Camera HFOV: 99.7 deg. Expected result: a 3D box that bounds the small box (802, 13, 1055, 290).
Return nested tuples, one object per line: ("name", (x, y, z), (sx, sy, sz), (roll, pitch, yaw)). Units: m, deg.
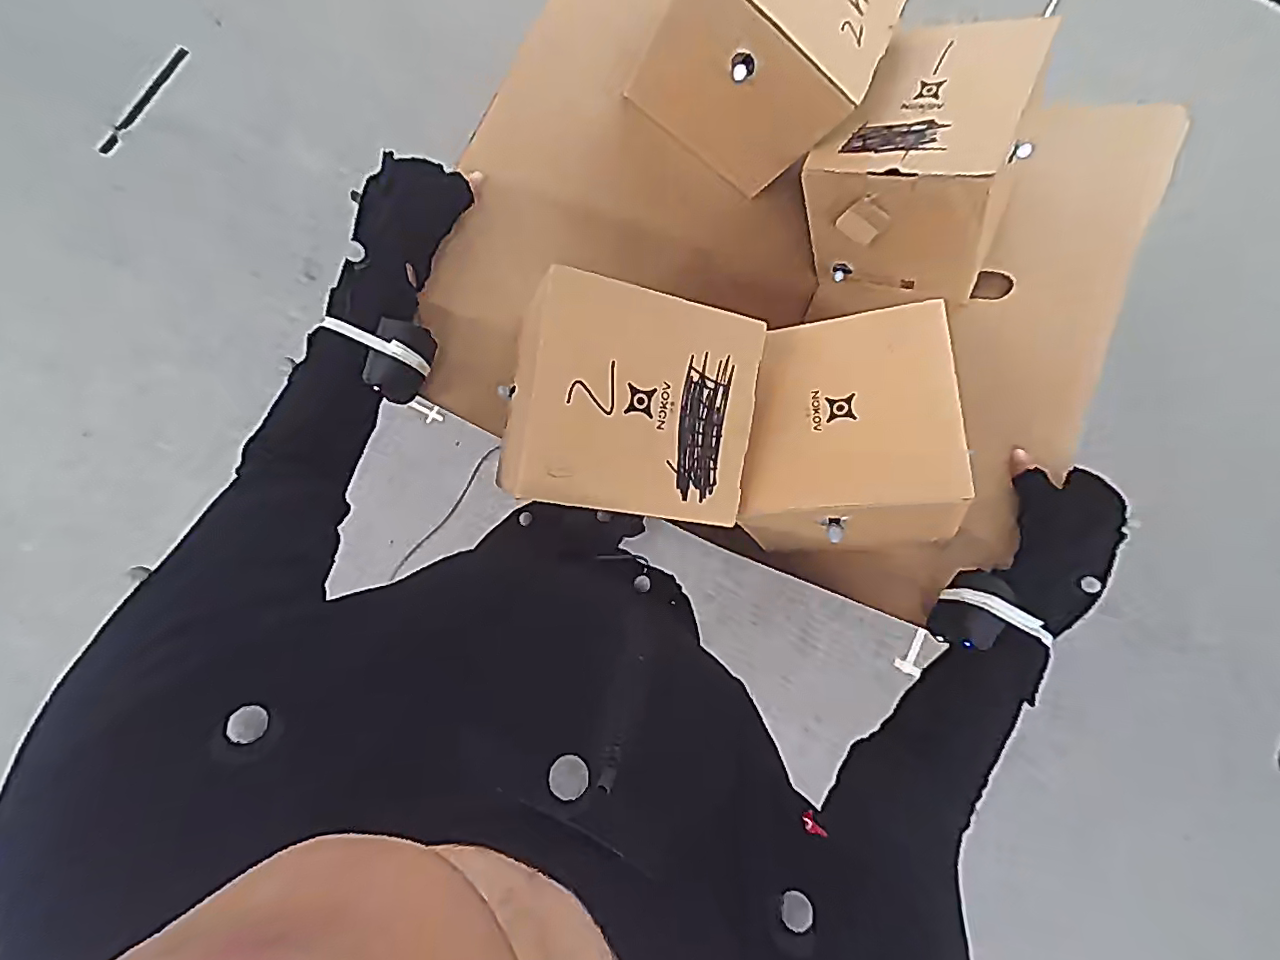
("small box", (0.290, -0.327, 0.564), (0.168, 0.176, 0.179), (22, 79, 29))
